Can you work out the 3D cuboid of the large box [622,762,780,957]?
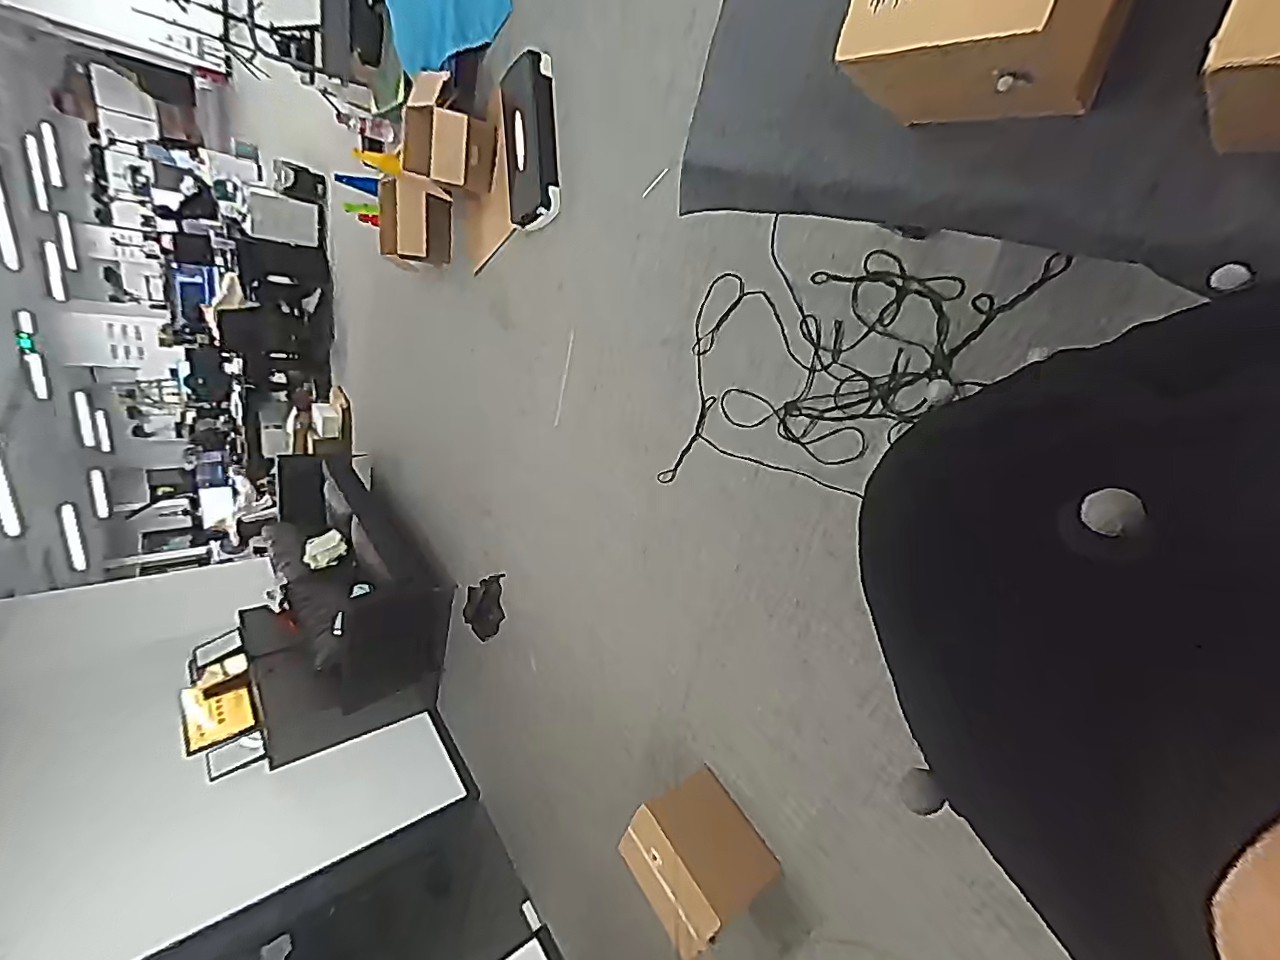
[{"bbox_3d":[0.204,1.300,1.886,0.408,0.320,0.320,45,127,37],"label":"large box"}]

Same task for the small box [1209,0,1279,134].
[{"bbox_3d":[0.478,-0.316,0.304,0.168,0.176,0.179,29,115,42],"label":"small box"}]
